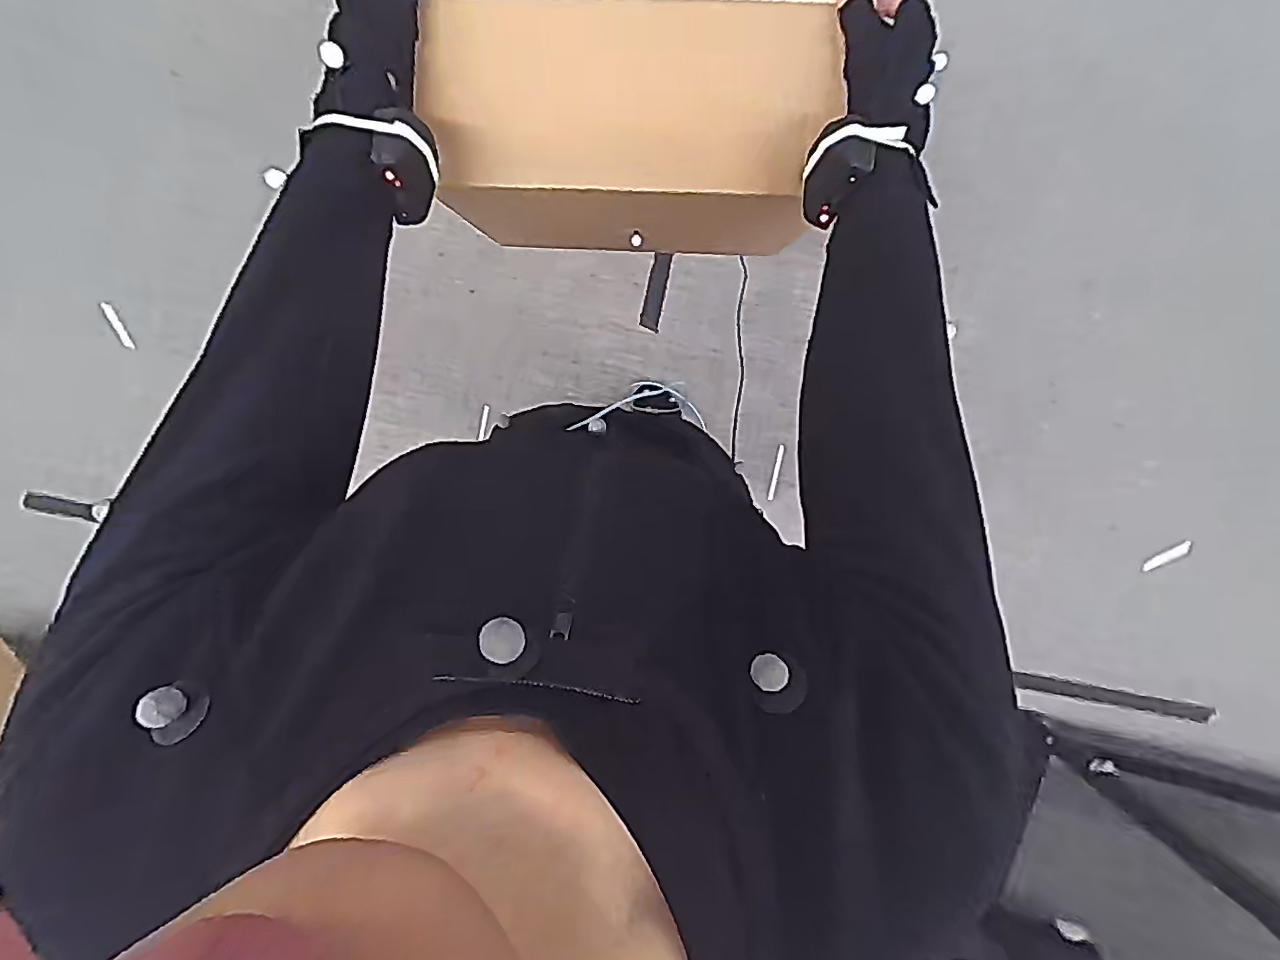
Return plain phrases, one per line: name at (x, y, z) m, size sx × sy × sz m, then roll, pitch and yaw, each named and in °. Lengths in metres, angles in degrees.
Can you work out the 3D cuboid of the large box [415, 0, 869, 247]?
large box at (0.006, -0.456, 0.613) m, size 0.408 × 0.320 × 0.320 m, roll 2°, pitch 103°, yaw 0°
